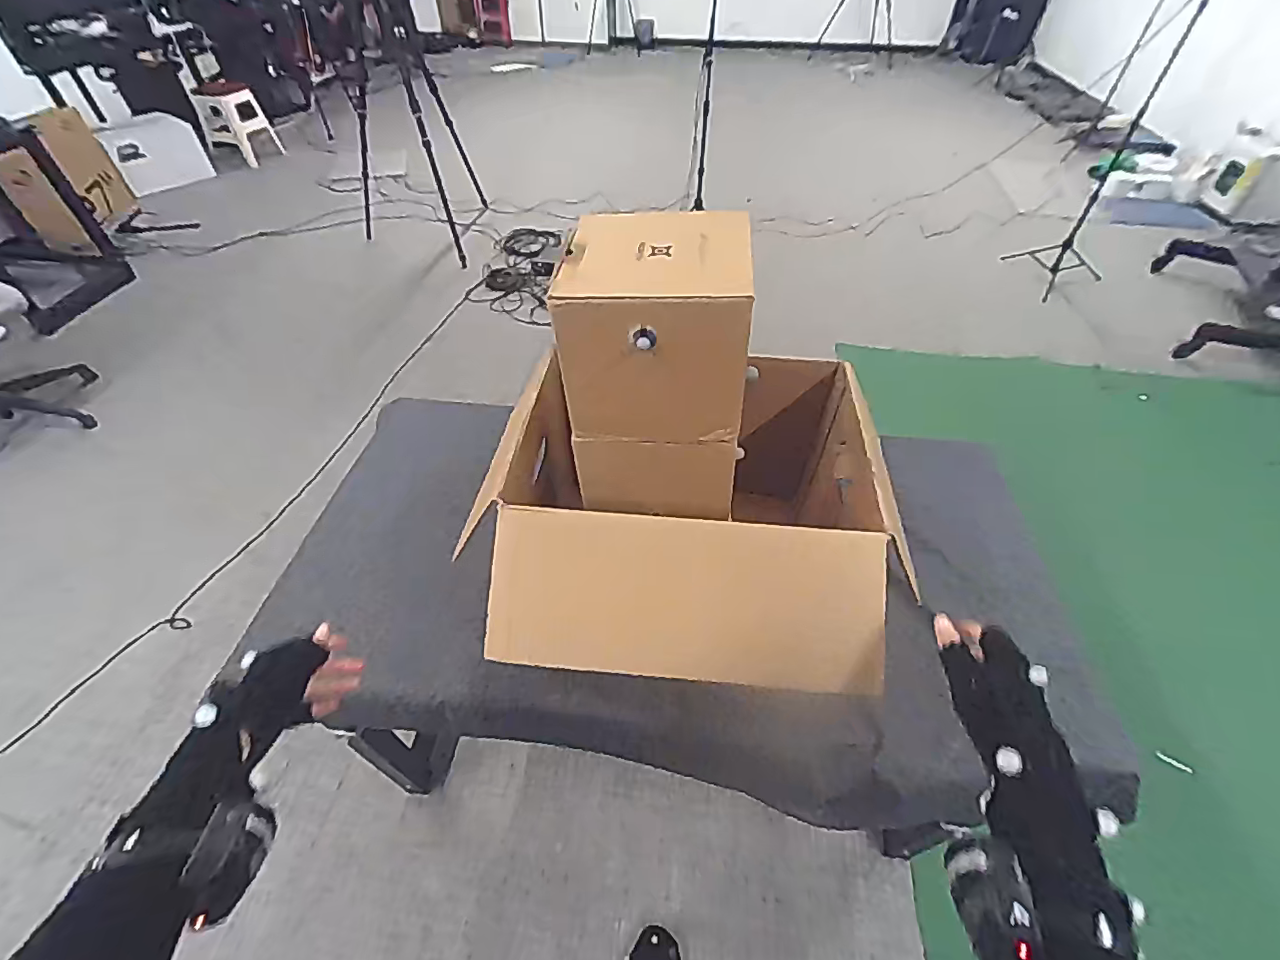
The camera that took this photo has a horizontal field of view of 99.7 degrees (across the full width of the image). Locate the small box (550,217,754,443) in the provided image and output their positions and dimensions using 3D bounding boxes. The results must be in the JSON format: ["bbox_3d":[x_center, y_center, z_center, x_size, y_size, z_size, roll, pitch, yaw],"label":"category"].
[{"bbox_3d":[0.019,-0.153,0.563,0.179,0.176,0.168,2,49,5],"label":"small box"}]
